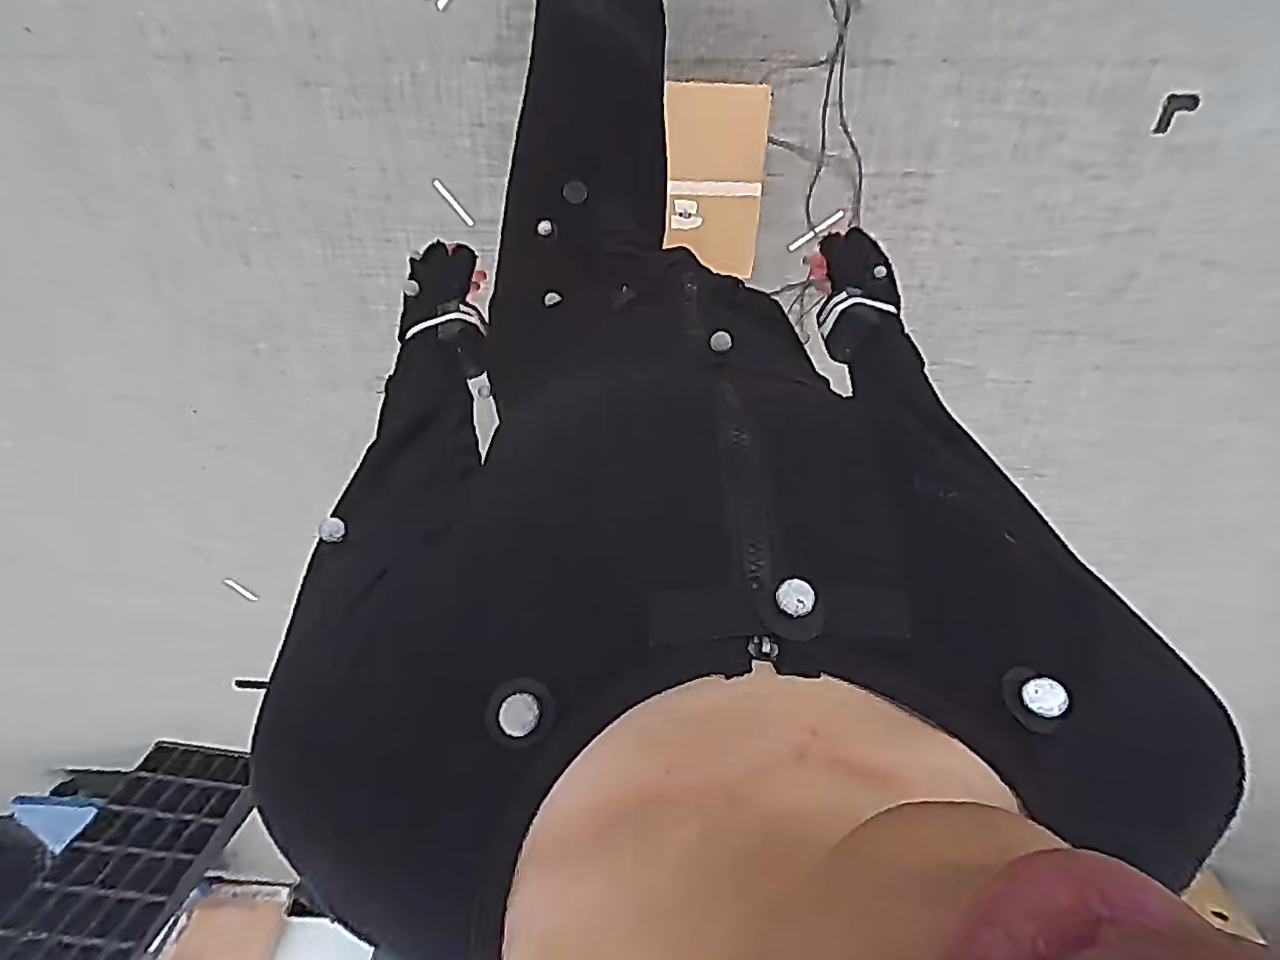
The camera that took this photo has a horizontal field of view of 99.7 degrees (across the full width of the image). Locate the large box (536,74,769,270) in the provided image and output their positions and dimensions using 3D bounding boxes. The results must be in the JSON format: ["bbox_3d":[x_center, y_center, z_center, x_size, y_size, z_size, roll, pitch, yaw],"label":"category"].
[{"bbox_3d":[0.021,-0.624,1.120,0.408,0.320,0.320,2,120,1],"label":"large box"}]
